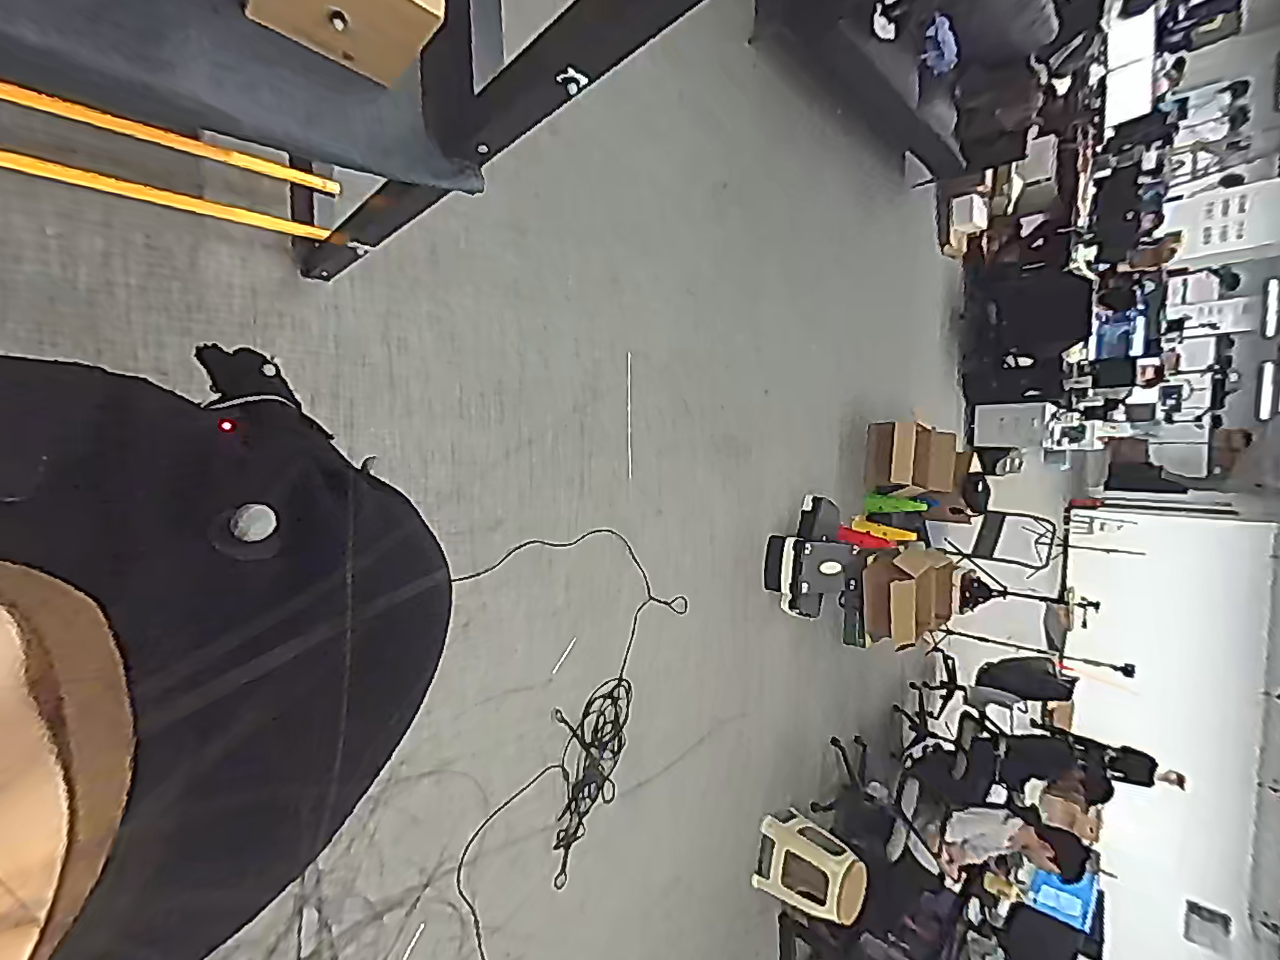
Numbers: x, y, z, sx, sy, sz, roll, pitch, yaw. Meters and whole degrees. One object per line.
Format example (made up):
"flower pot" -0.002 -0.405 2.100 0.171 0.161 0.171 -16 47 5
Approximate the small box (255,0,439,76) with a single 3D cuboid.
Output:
"small box" -0.340 -0.619 0.618 0.168 0.176 0.179 1 91 -45
